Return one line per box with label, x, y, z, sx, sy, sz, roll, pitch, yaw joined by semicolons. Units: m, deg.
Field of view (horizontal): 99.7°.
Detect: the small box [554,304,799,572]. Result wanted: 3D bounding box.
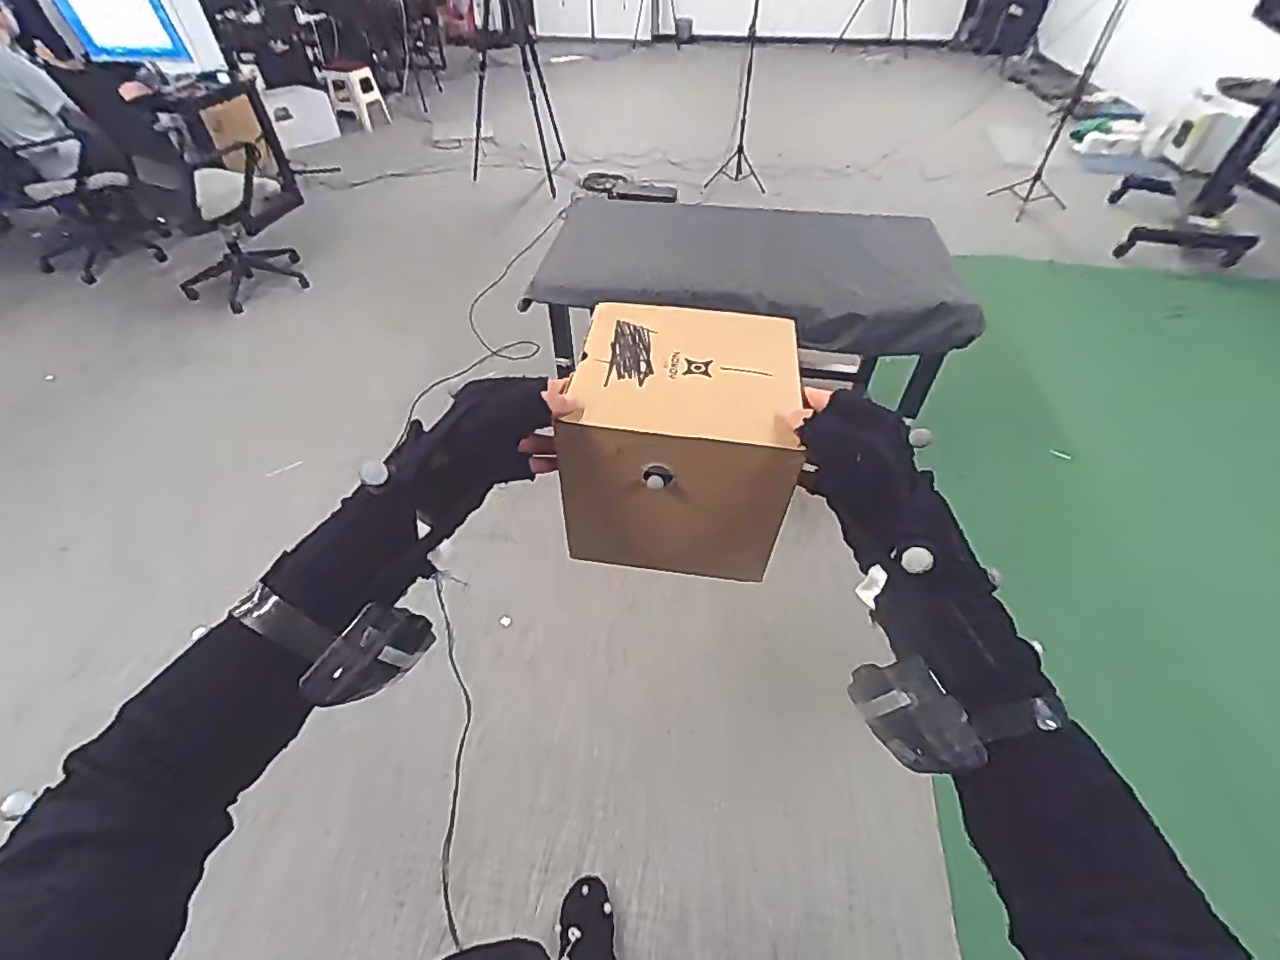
small box;0.034;-0.035;0.486;0.179;0.176;0.168;7;48;4
